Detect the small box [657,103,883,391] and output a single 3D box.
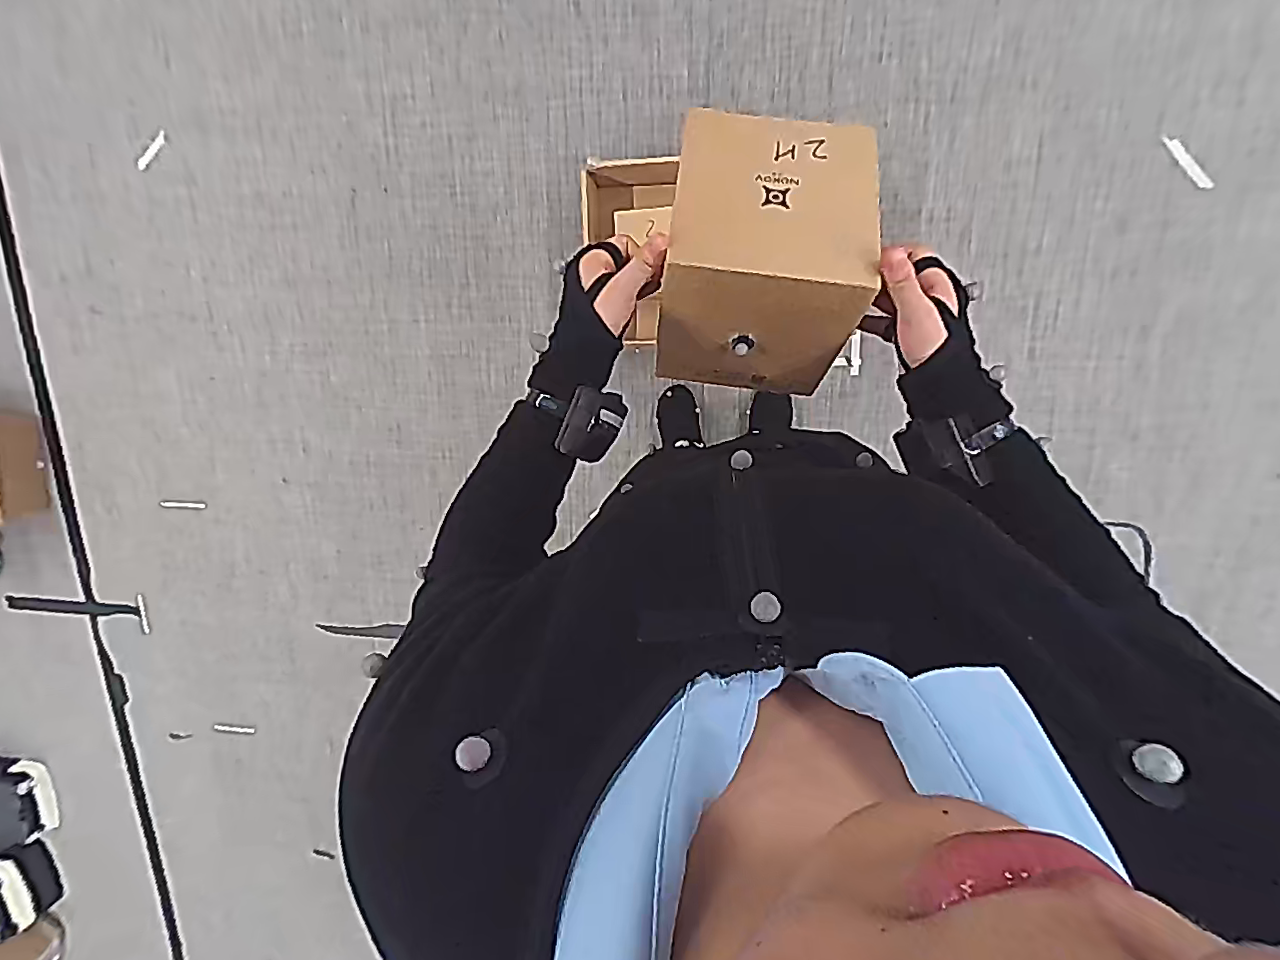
[{"bbox_3d":[0.110,-0.205,0.510,0.168,0.176,0.179,9,69,0],"label":"small box"}]
